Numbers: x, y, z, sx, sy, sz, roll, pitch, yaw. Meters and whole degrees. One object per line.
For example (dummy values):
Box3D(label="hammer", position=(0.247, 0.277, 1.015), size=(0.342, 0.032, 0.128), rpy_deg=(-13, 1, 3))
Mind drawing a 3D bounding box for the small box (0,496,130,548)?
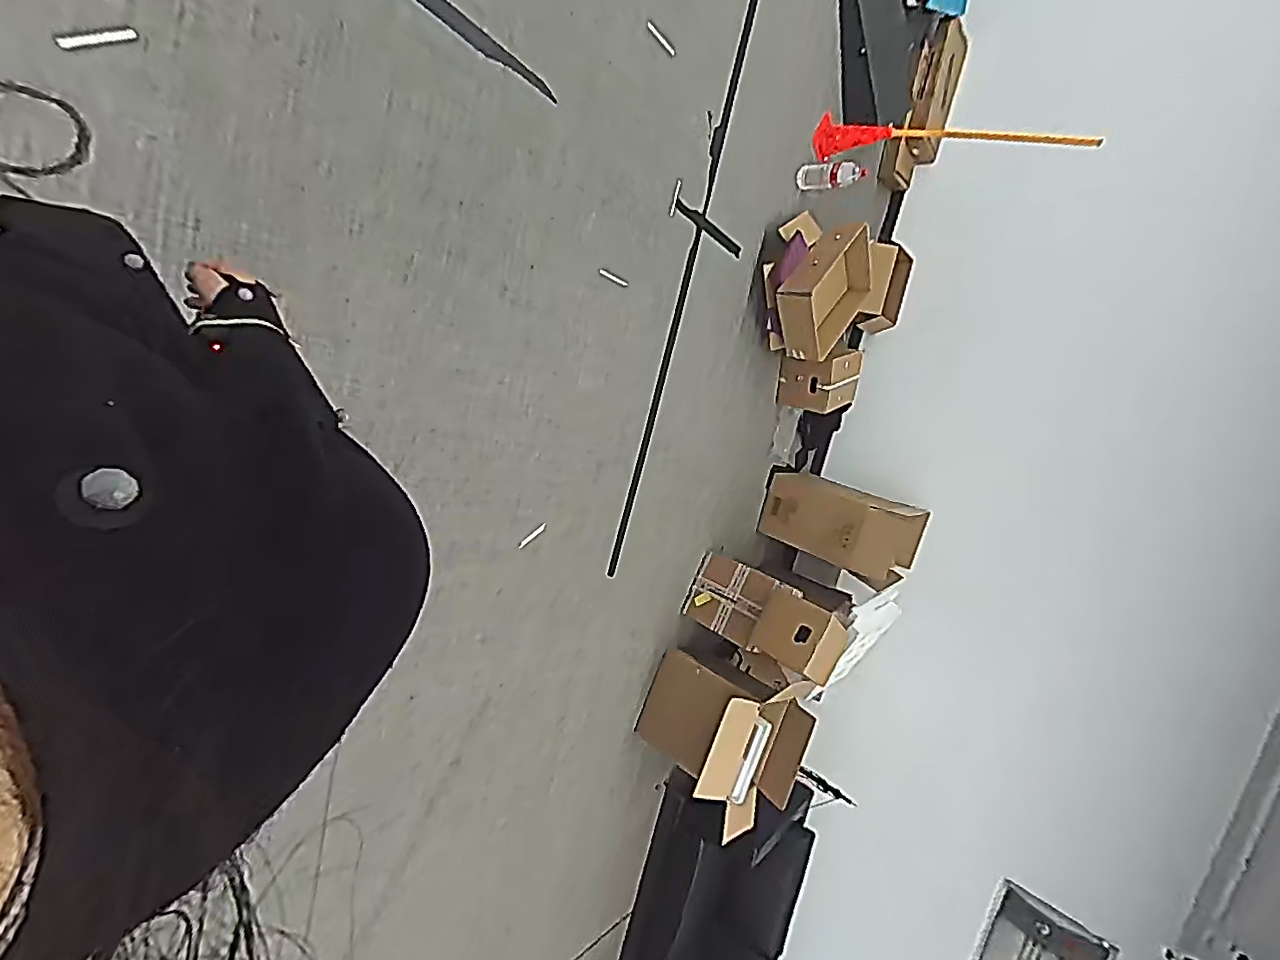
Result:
Box3D(label="small box", position=(-1.100, 0.138, 1.036), size=(0.168, 0.176, 0.179), rpy_deg=(-15, 116, -47))
